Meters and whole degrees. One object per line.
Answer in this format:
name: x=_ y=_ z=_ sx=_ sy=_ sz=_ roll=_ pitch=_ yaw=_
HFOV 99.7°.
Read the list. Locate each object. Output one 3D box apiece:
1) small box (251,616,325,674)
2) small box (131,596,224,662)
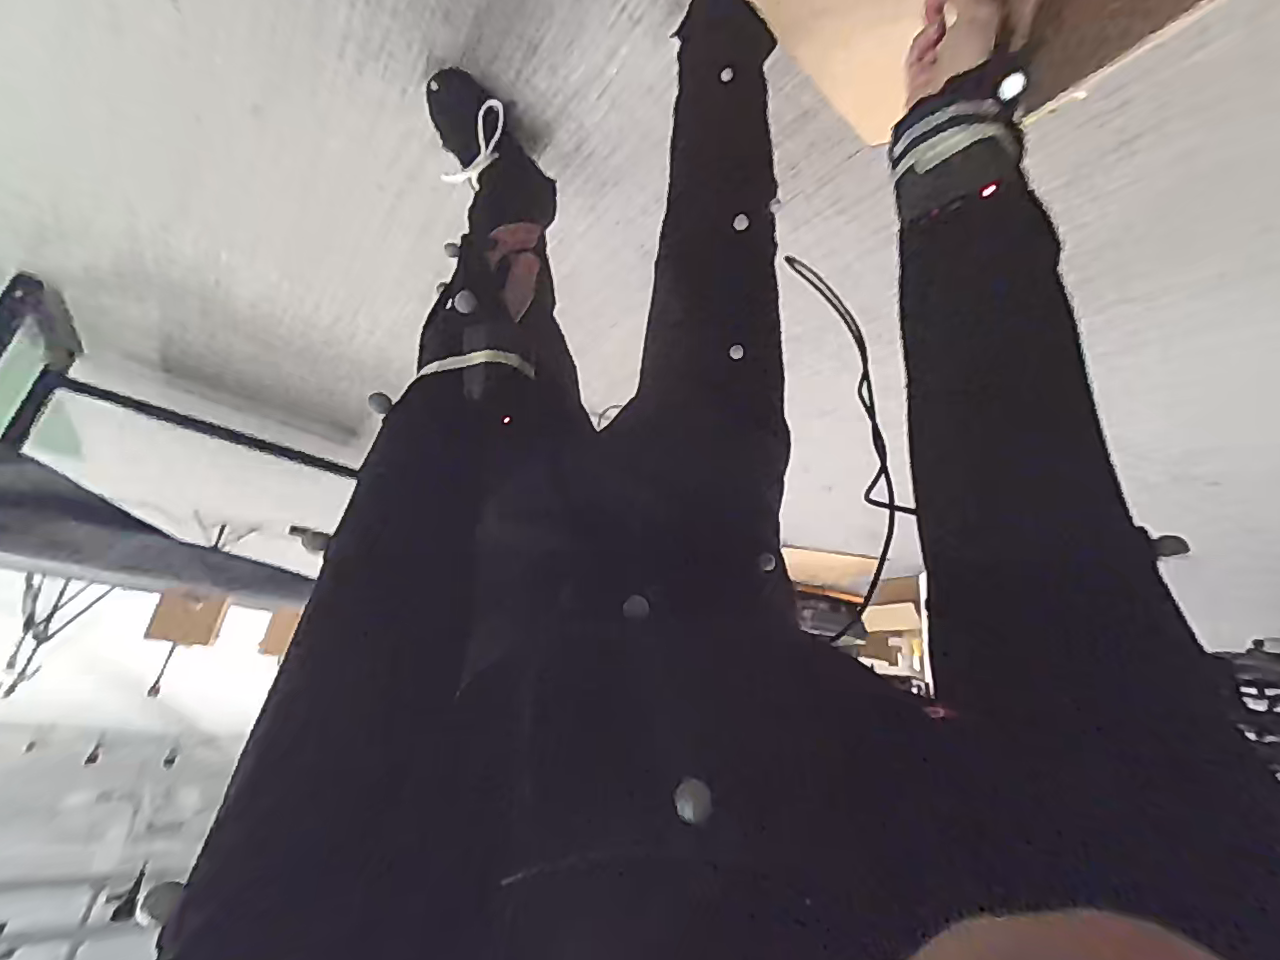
small box: x=-1.204 y=0.566 z=1.855 sx=0.168 sy=0.176 sz=0.179 roll=22 pitch=154 yaw=-32
small box: x=-1.434 y=0.467 z=1.690 sx=0.168 sy=0.176 sz=0.179 roll=18 pitch=155 yaw=-27
